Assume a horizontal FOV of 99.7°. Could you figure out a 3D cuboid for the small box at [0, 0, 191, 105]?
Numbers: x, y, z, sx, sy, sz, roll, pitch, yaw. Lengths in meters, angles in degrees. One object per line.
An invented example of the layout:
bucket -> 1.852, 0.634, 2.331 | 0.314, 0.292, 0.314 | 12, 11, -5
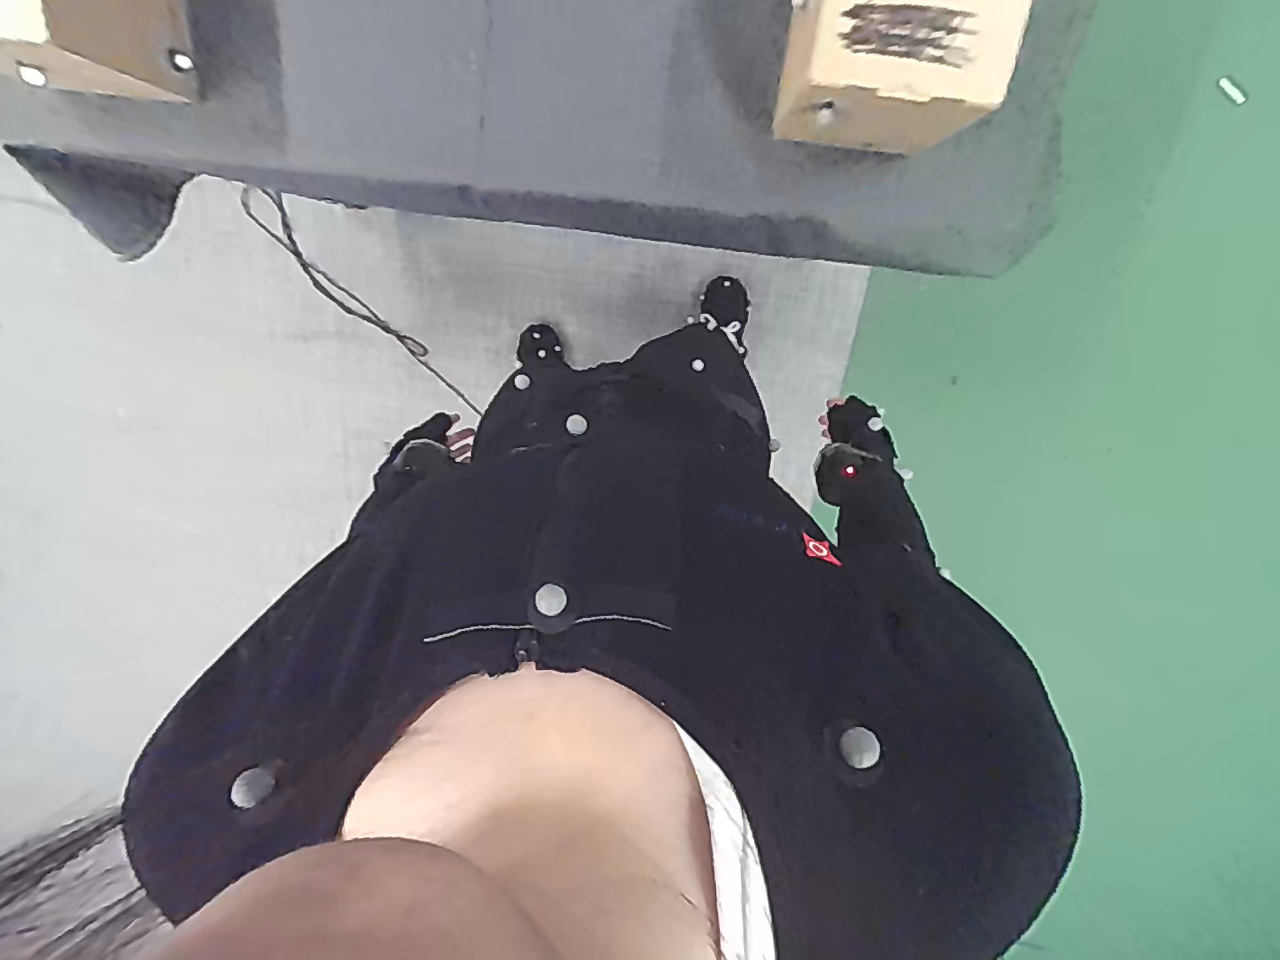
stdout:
small box -> -0.574, -0.479, 0.512 | 0.179, 0.176, 0.168 | 6, 109, -1
